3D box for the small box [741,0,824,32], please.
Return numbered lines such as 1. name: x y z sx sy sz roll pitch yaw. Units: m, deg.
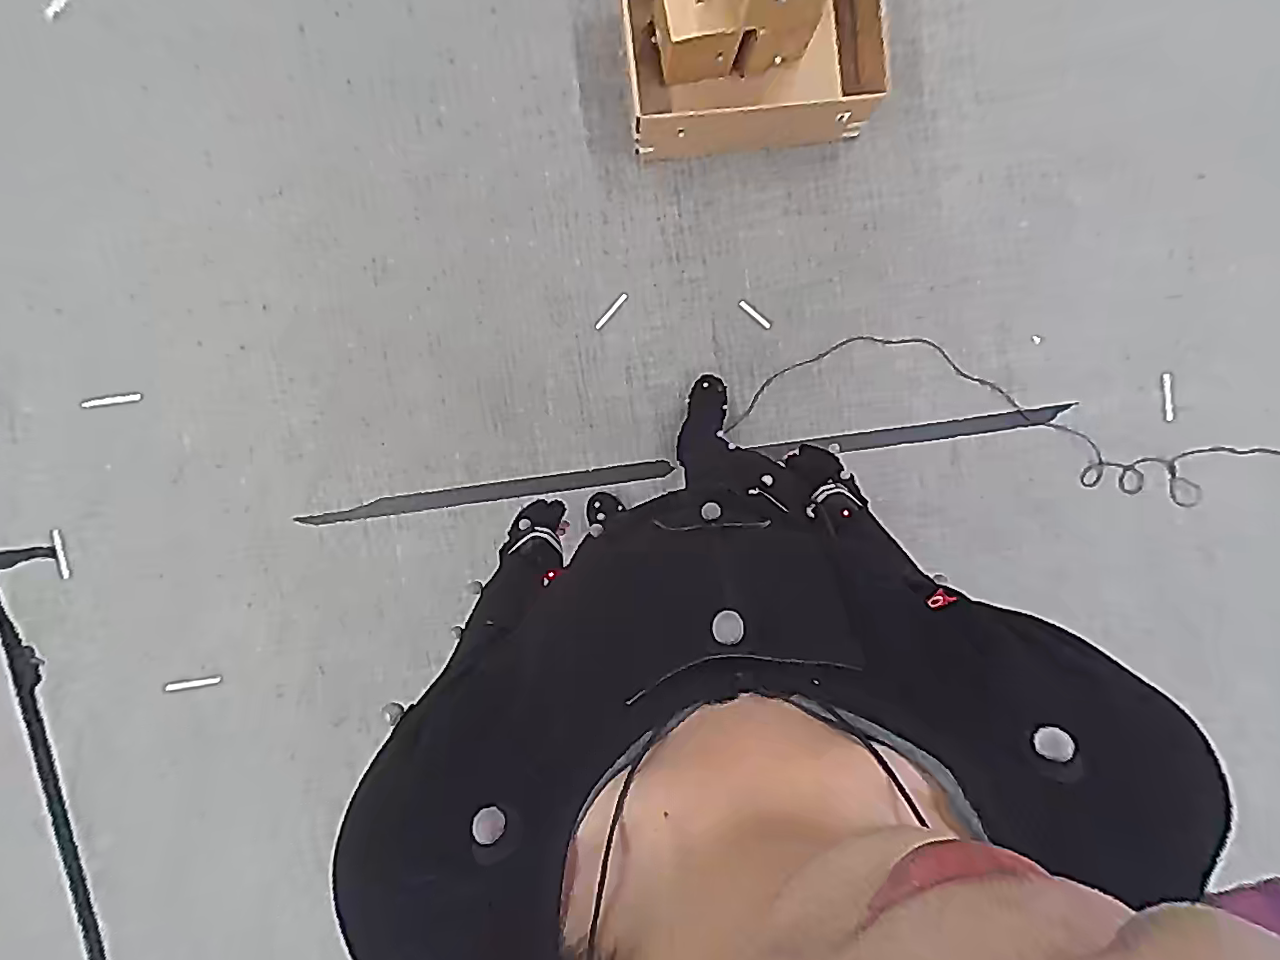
1. small box: 0.313 -1.109 1.161 0.179 0.176 0.168 -3 96 0
